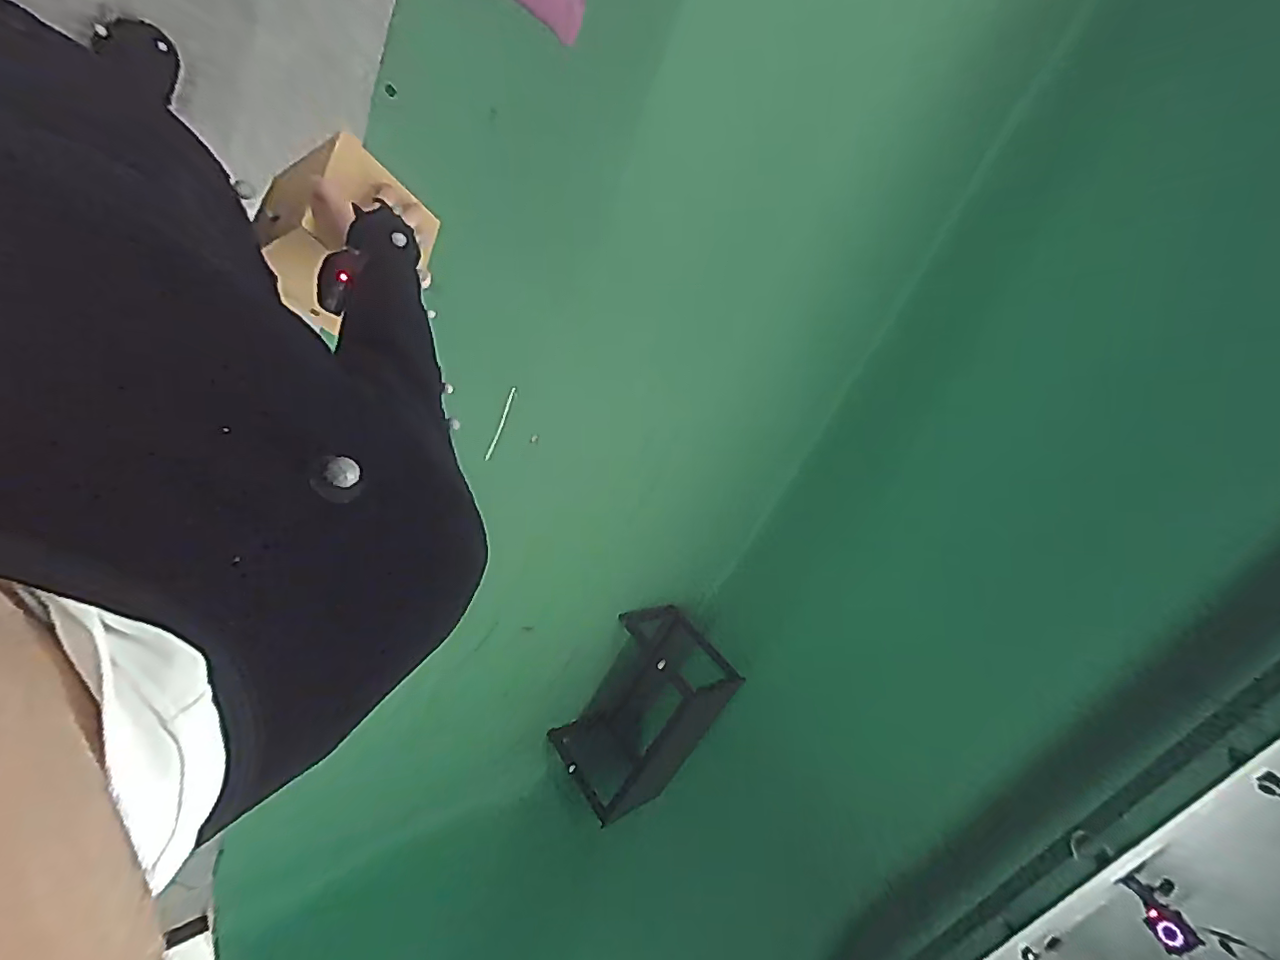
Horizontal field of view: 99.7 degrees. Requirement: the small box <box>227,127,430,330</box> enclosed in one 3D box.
[{"bbox_3d":[-0.437,-0.340,0.766,0.168,0.176,0.179,40,49,-53],"label":"small box"}]
